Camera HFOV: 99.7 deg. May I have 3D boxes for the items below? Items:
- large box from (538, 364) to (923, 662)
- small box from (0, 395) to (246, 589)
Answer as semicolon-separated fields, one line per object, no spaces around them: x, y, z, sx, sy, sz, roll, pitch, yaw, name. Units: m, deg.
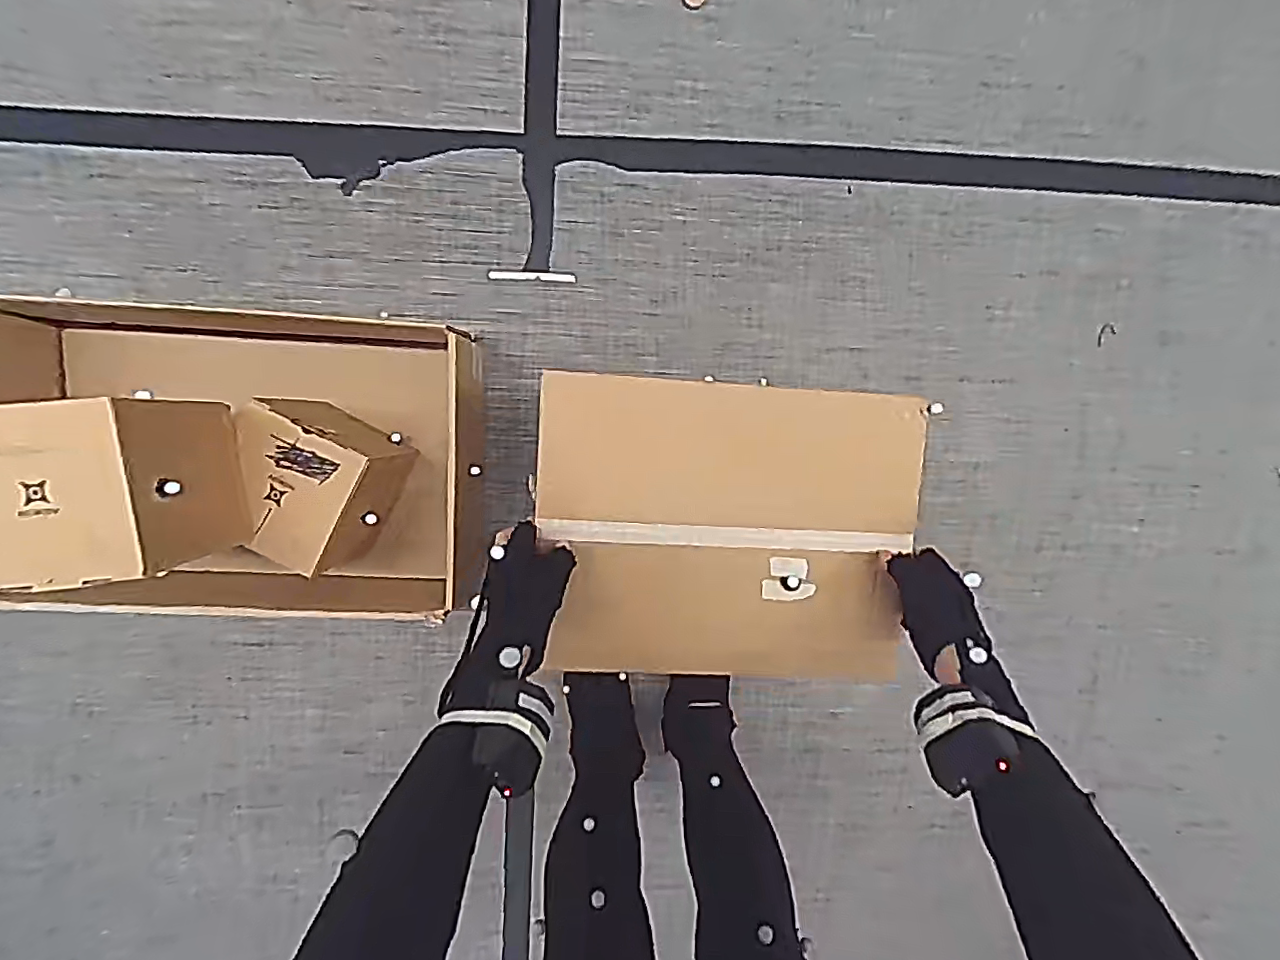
0.080;0.026;0.713;0.408;0.320;0.320;2;98;-5;large box
-0.566;0.004;0.583;0.168;0.176;0.179;-6;96;-4;small box
